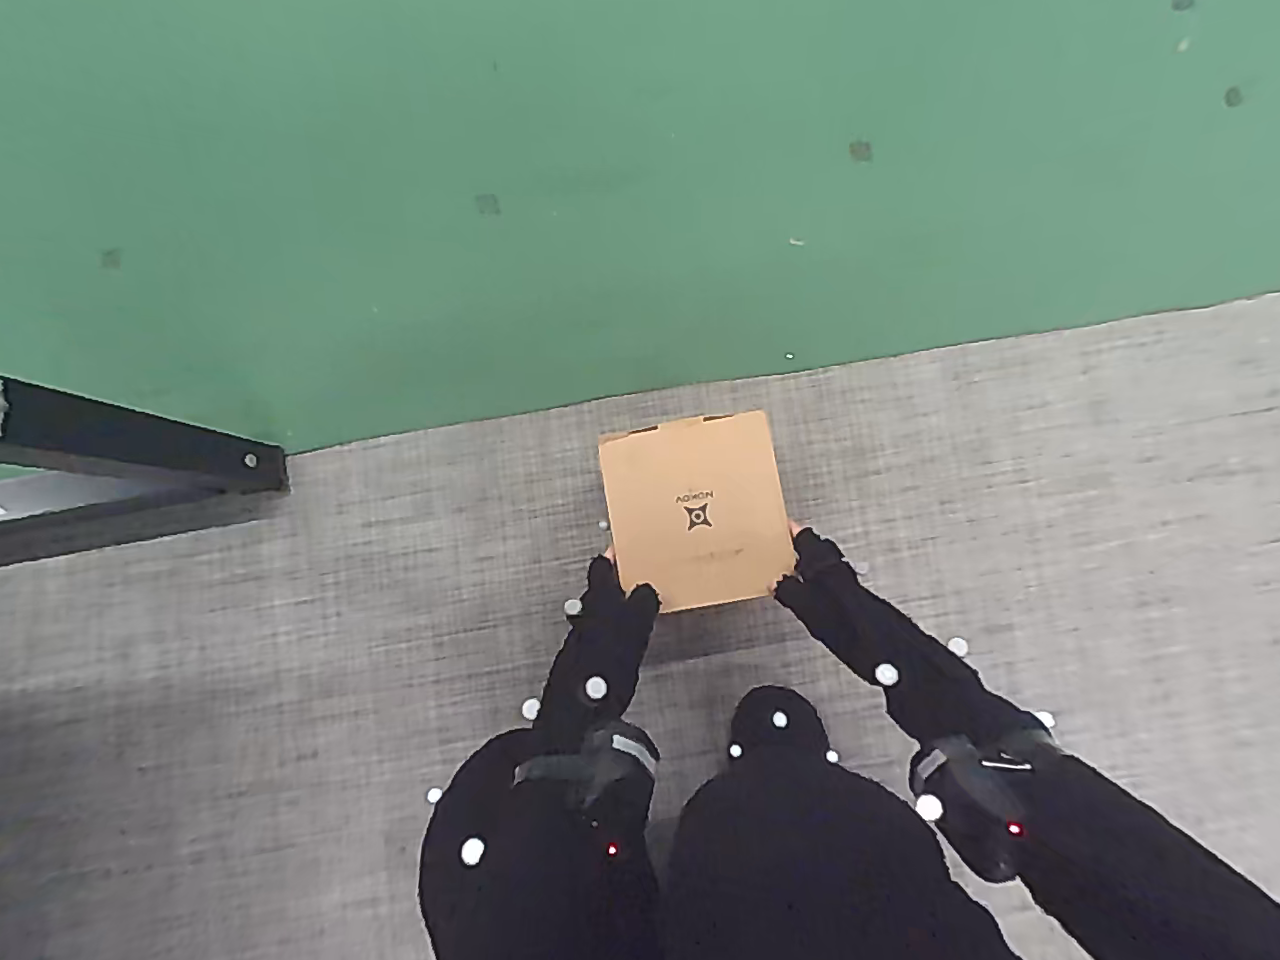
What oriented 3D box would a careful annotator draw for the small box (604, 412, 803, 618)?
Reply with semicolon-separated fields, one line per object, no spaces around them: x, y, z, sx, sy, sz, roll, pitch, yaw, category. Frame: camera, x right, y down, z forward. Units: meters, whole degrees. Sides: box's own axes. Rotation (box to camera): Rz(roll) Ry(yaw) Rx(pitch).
0.059;0.041;0.588;0.168;0.176;0.179;-10;84;1;small box
